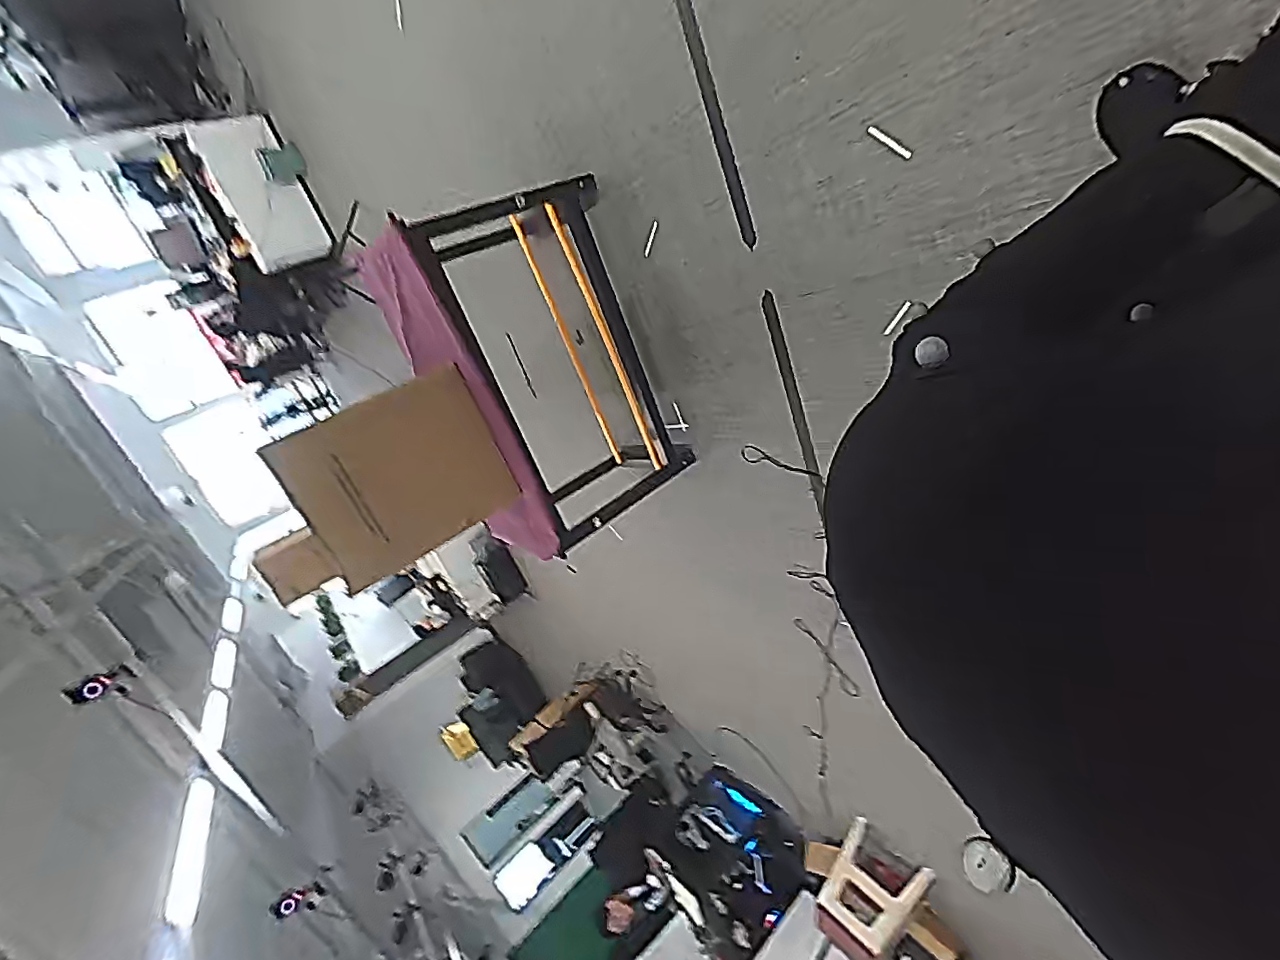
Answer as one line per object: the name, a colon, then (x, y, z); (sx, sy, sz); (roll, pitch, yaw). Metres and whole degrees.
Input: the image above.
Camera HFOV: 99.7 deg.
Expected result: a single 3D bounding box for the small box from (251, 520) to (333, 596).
small box: (-1.150, 0.255, 1.797); (0.168, 0.176, 0.179); (0, 117, 56)
